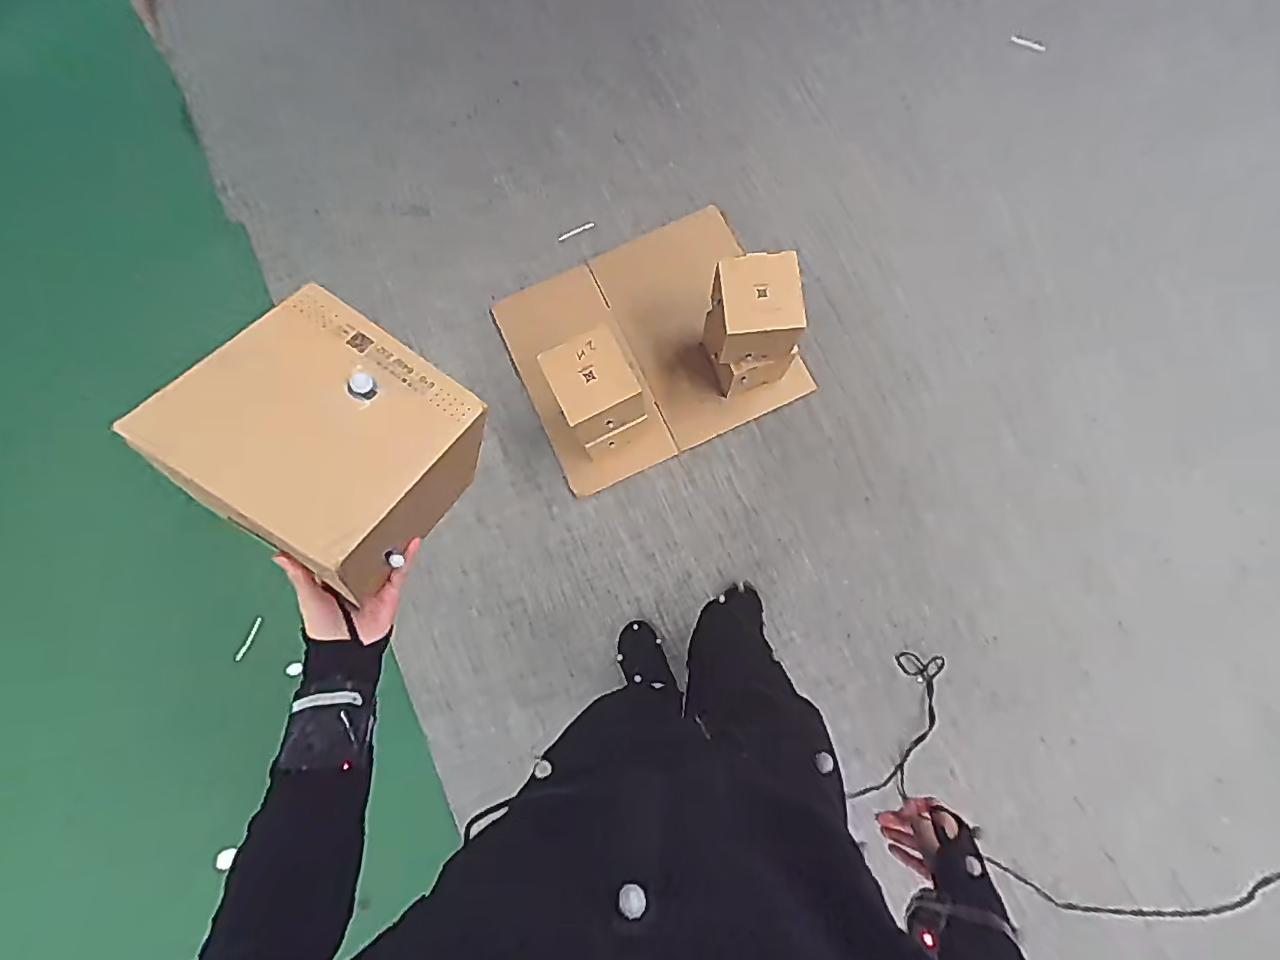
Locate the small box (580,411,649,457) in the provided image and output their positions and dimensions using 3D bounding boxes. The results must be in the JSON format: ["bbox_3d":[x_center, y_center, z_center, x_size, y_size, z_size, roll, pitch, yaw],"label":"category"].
[{"bbox_3d":[-0.085,-0.170,1.342,0.168,0.176,0.179,-27,79,-2],"label":"small box"}]

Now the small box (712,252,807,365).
[{"bbox_3d":[0.254,-0.372,1.189,0.168,0.176,0.179,-4,80,1],"label":"small box"}]

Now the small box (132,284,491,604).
[{"bbox_3d":[-0.247,-0.023,0.460,0.168,0.179,0.176,36,60,-4],"label":"small box"}]

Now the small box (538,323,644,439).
[{"bbox_3d":[-0.098,-0.203,1.180,0.168,0.176,0.179,-26,79,-2],"label":"small box"}]
